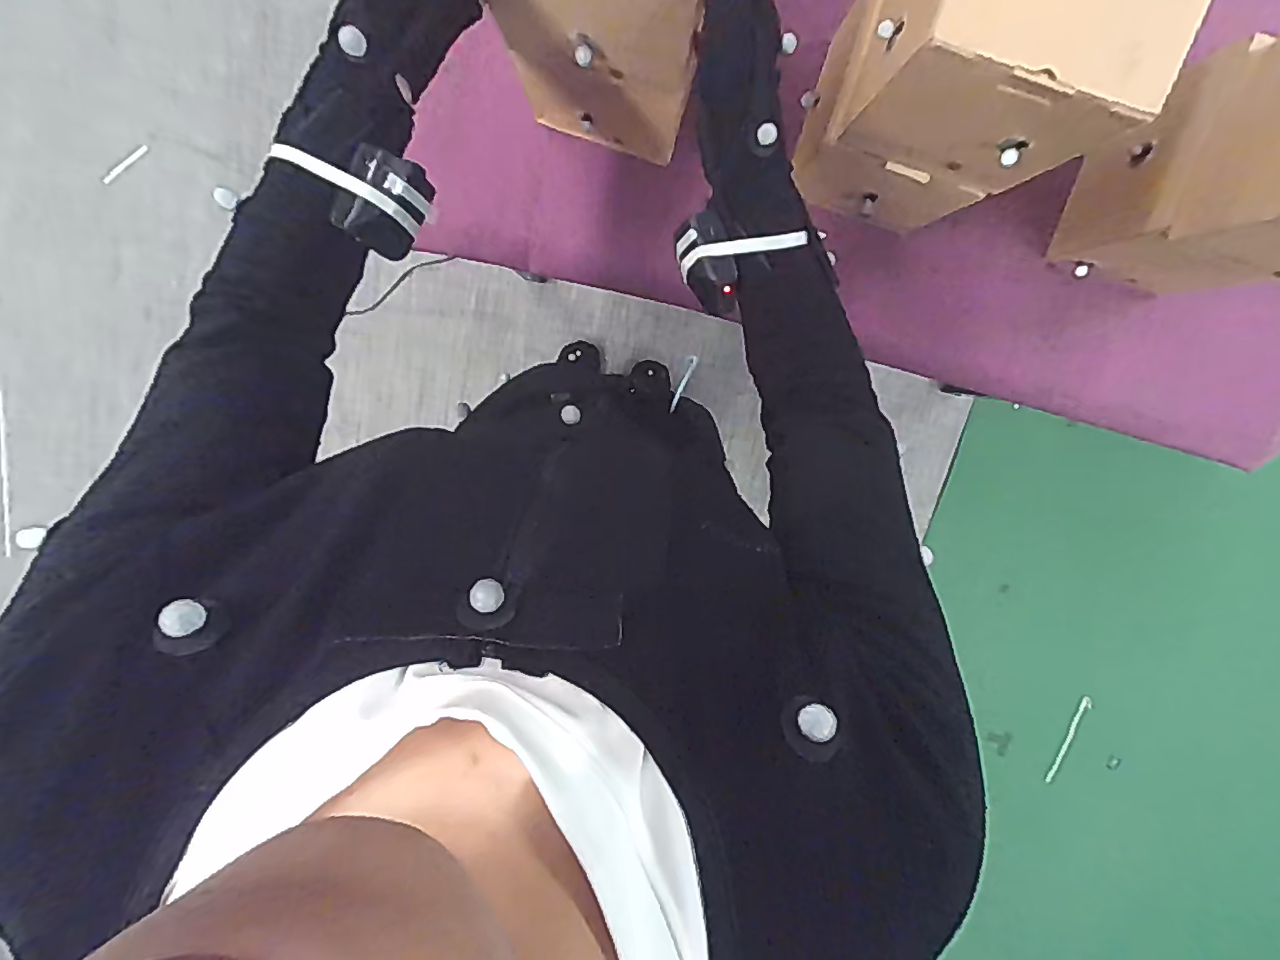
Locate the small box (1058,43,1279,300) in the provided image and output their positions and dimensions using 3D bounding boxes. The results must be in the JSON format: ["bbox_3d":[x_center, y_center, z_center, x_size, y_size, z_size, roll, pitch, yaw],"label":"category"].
[{"bbox_3d":[0.613,-0.308,0.587,0.168,0.176,0.179,18,103,-6],"label":"small box"}]

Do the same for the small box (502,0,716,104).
[{"bbox_3d":[-0.012,-0.423,0.390,0.168,0.176,0.179,16,103,-4],"label":"small box"}]

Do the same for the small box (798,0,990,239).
[{"bbox_3d":[0.283,-0.380,0.574,0.168,0.176,0.179,17,101,0],"label":"small box"}]

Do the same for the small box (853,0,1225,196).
[{"bbox_3d":[0.288,-0.346,0.411,0.168,0.176,0.179,16,102,-5],"label":"small box"}]
